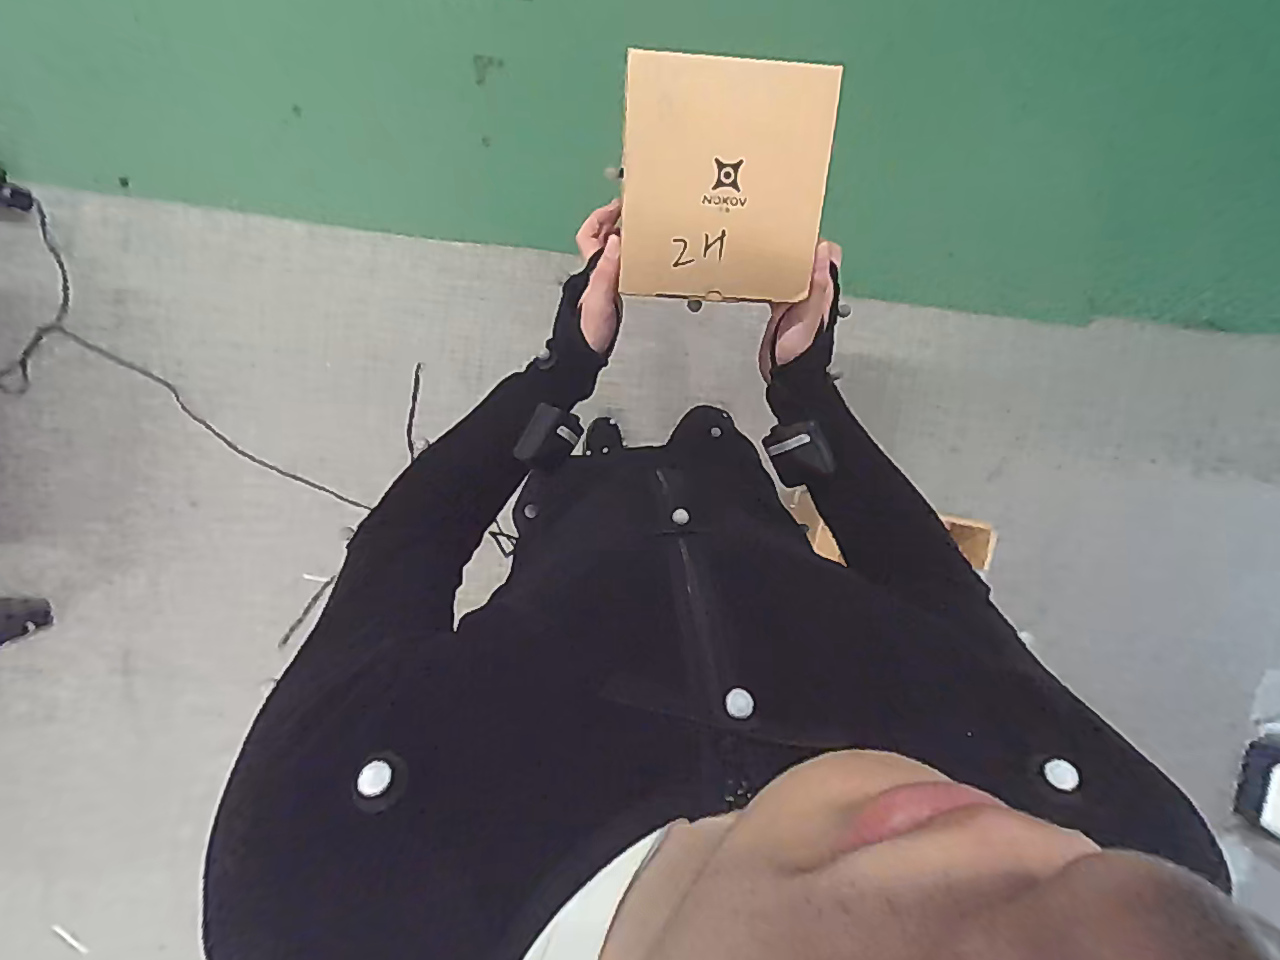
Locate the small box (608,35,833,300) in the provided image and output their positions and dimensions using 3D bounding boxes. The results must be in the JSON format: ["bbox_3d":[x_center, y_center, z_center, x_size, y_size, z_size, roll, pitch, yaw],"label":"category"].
[{"bbox_3d":[0.056,-0.266,0.500,0.168,0.176,0.179,2,111,-3],"label":"small box"}]
